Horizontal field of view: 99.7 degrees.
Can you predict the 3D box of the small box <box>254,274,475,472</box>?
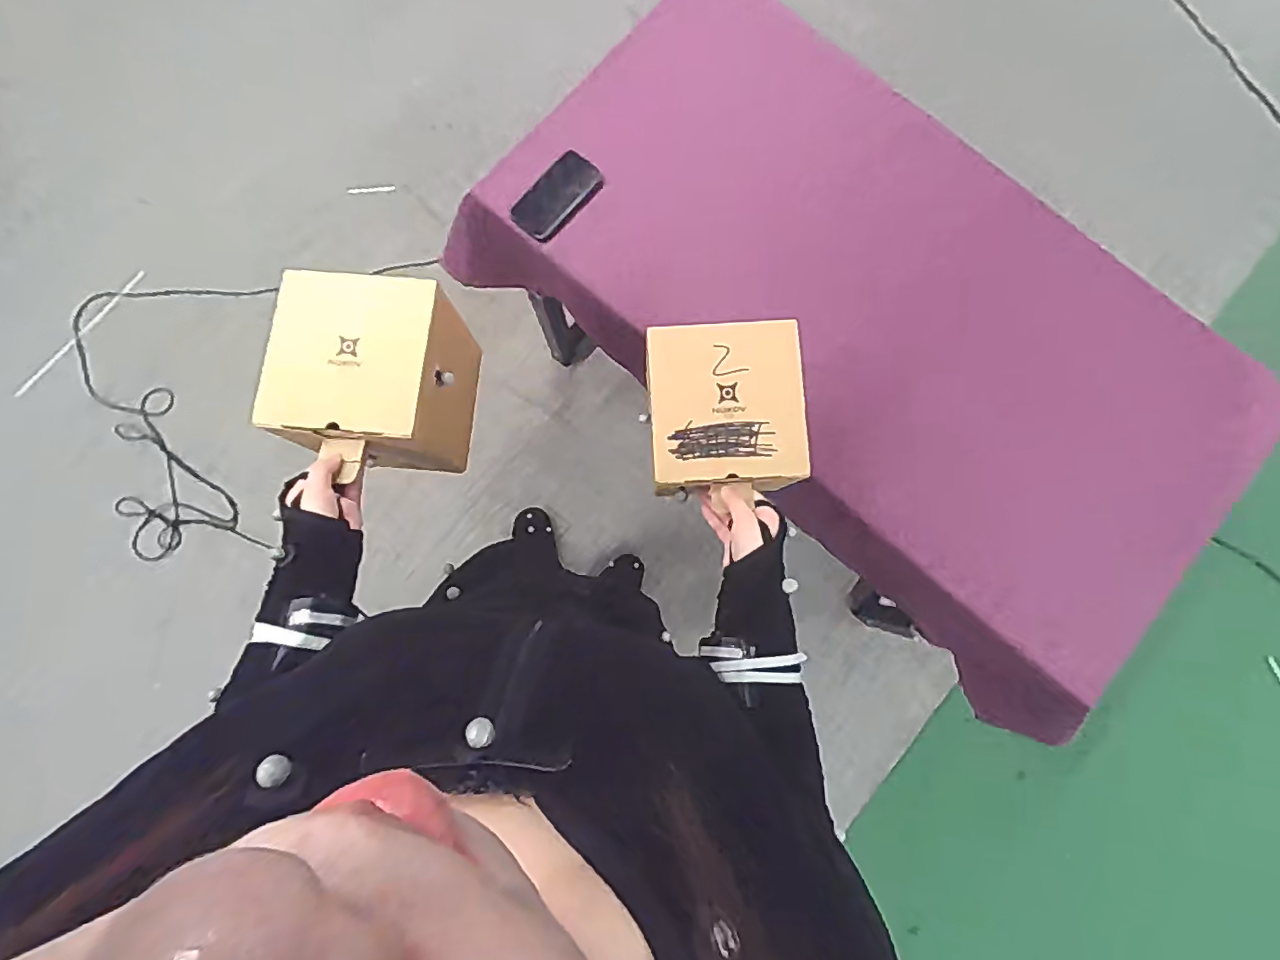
[{"bbox_3d":[-0.306,-0.116,0.643,0.168,0.176,0.179,4,80,0],"label":"small box"}]
